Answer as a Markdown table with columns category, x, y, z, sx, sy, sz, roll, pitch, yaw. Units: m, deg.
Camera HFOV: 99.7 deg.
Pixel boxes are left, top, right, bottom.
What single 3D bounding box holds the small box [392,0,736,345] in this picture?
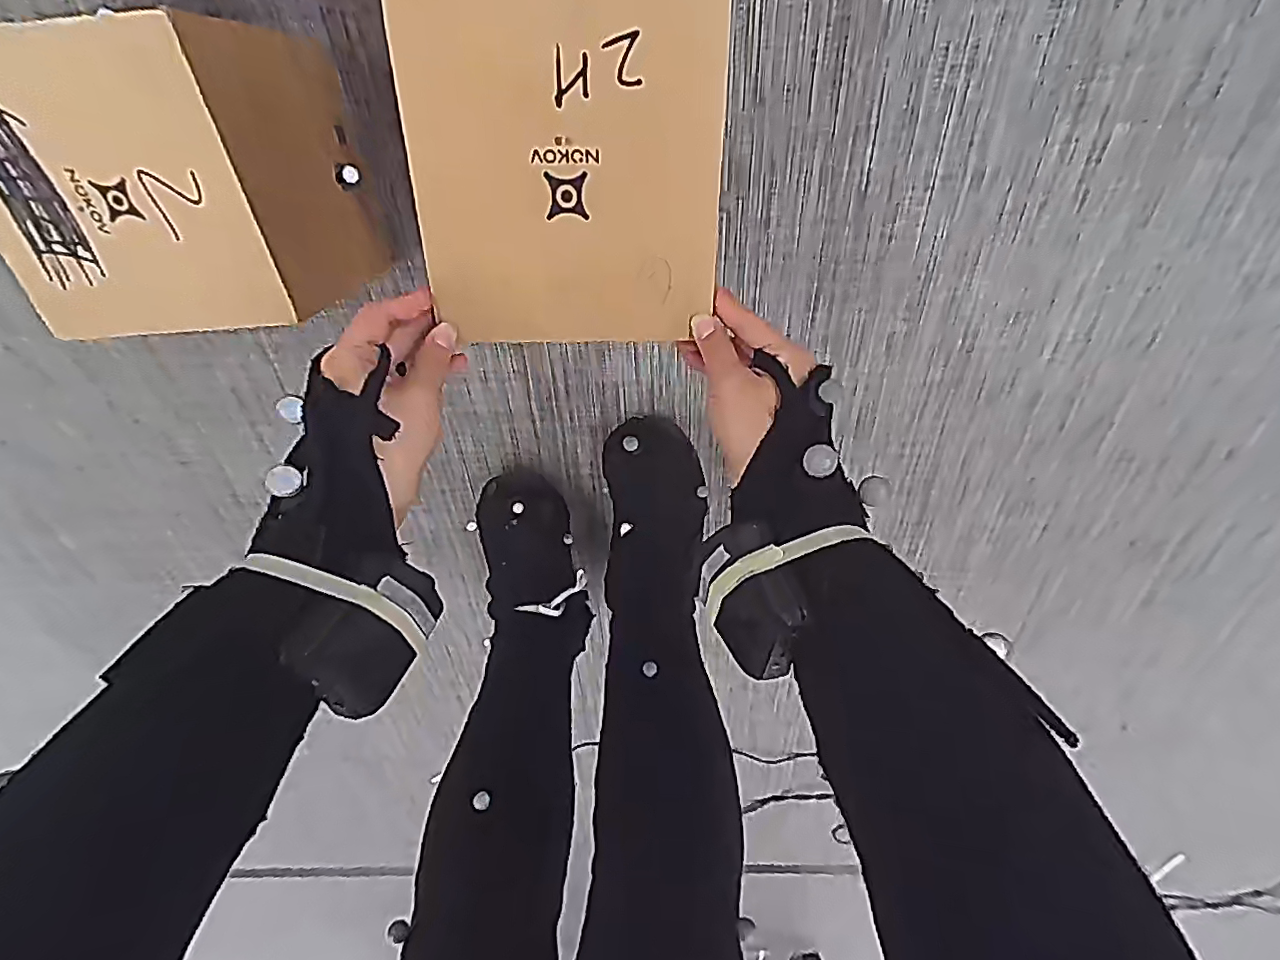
| category | x | y | z | sx | sy | sz | roll | pitch | yaw |
| --- | --- | --- | --- | --- | --- | --- | --- | --- | --- |
| small box | -0.039 | -0.198 | 0.363 | 0.168 | 0.176 | 0.179 | -1 | 117 | -2 |
